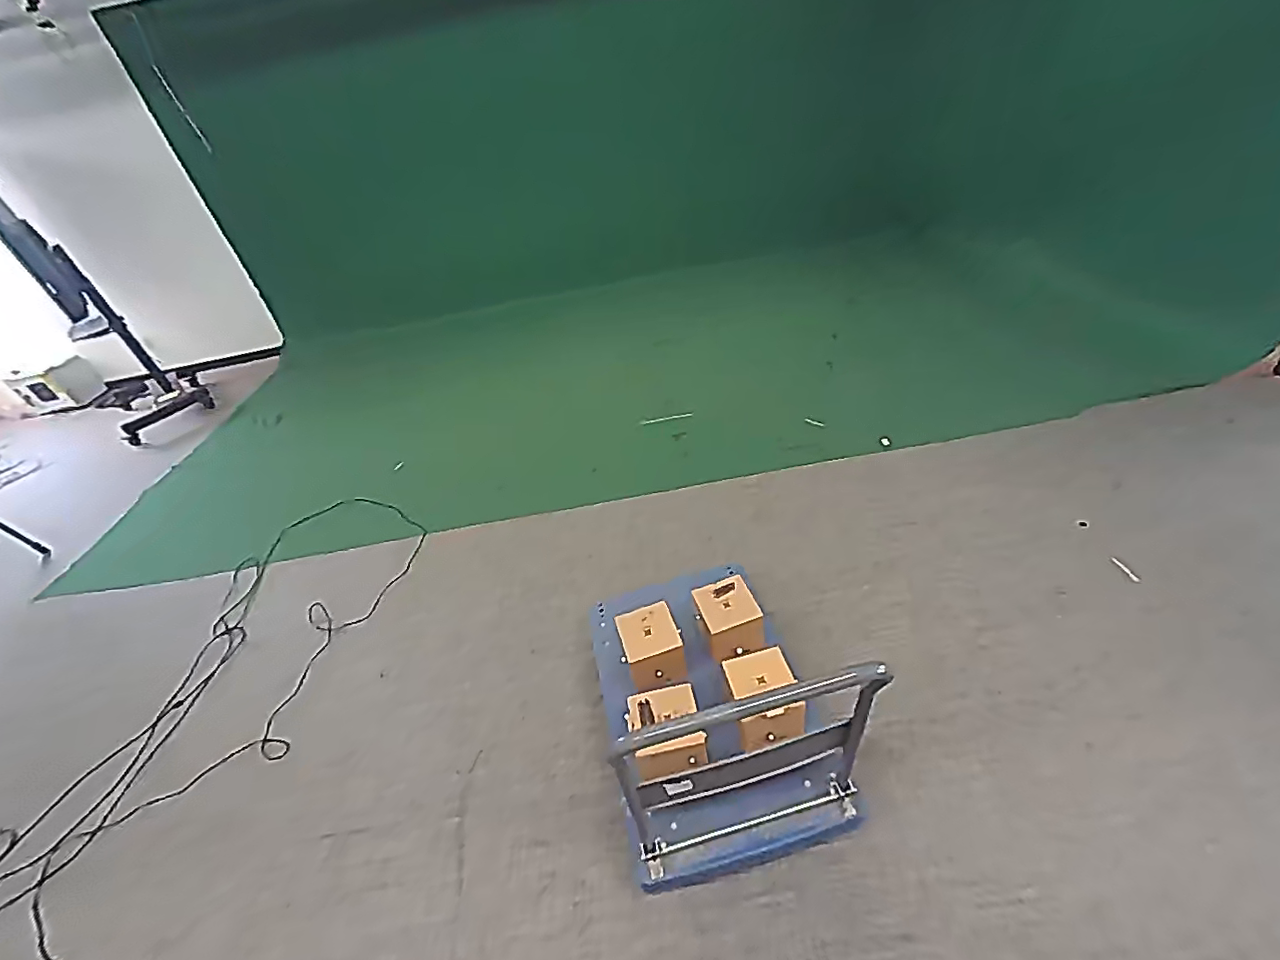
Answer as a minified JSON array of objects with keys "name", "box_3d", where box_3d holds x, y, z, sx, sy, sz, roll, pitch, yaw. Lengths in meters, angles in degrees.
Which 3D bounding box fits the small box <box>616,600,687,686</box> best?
[{"name":"small box","box_3d":[0.038,0.509,1.663,0.168,0.176,0.179,-17,38,-7]}]

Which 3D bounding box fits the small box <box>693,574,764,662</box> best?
[{"name":"small box","box_3d":[0.276,0.433,1.694,0.168,0.176,0.179,-18,39,-6]}]

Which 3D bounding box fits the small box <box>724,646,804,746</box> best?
[{"name":"small box","box_3d":[0.335,0.592,1.483,0.168,0.176,0.179,-14,38,-4]}]
